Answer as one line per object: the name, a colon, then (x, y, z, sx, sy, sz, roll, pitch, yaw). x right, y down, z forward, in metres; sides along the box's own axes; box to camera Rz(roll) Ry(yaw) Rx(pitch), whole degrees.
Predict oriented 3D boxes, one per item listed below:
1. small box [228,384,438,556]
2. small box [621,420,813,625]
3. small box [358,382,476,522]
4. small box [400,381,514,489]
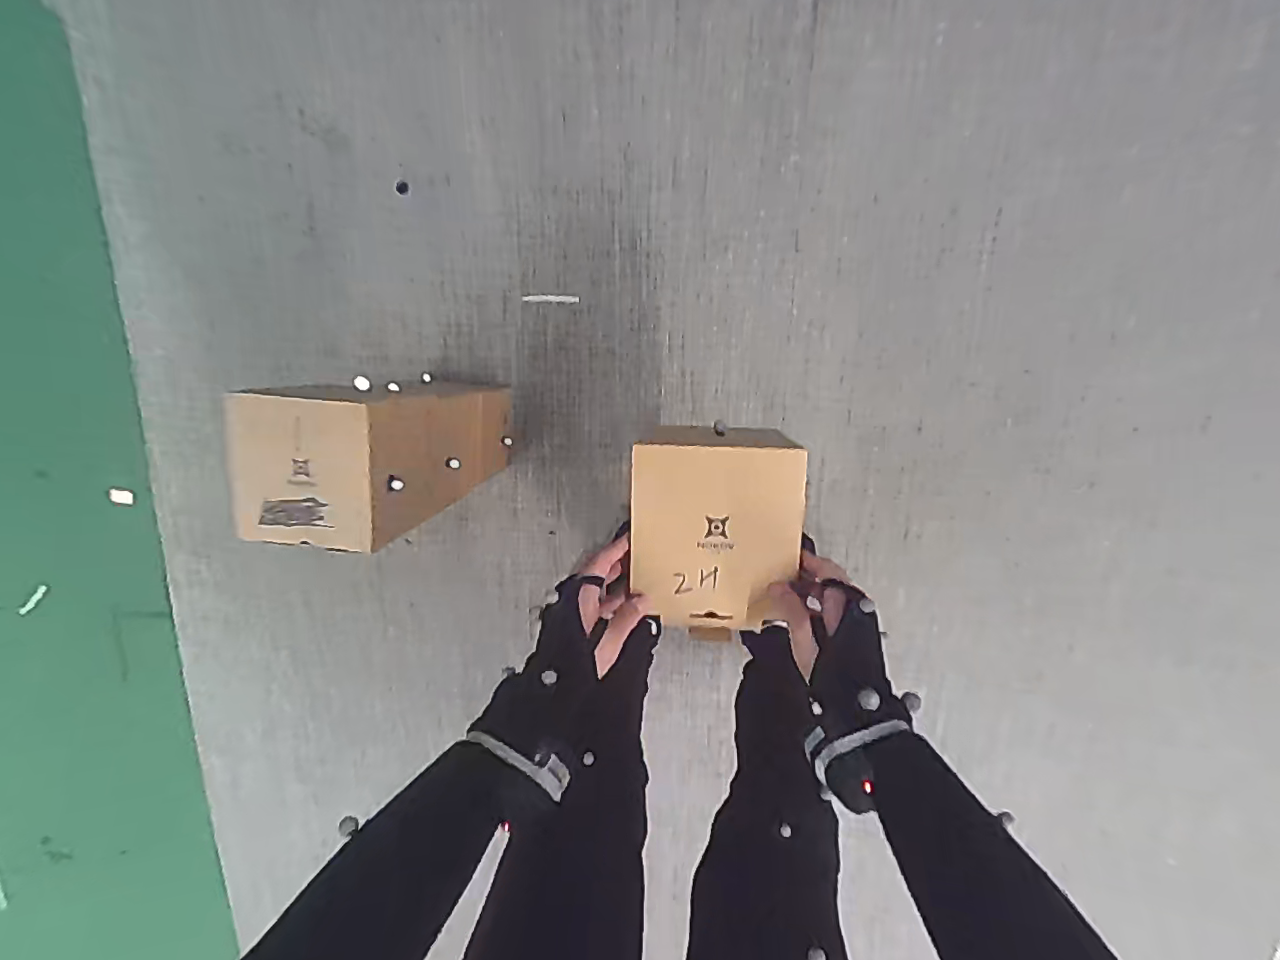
small box: (-0.369, -0.023, 0.681, 0.168, 0.176, 0.179, 6, 103, 3)
small box: (0.079, 0.034, 0.605, 0.168, 0.176, 0.179, 9, 104, 5)
small box: (-0.367, -0.051, 0.843, 0.168, 0.176, 0.179, 7, 104, 3)
small box: (-0.349, -0.091, 1.001, 0.179, 0.176, 0.168, 7, 104, 3)
